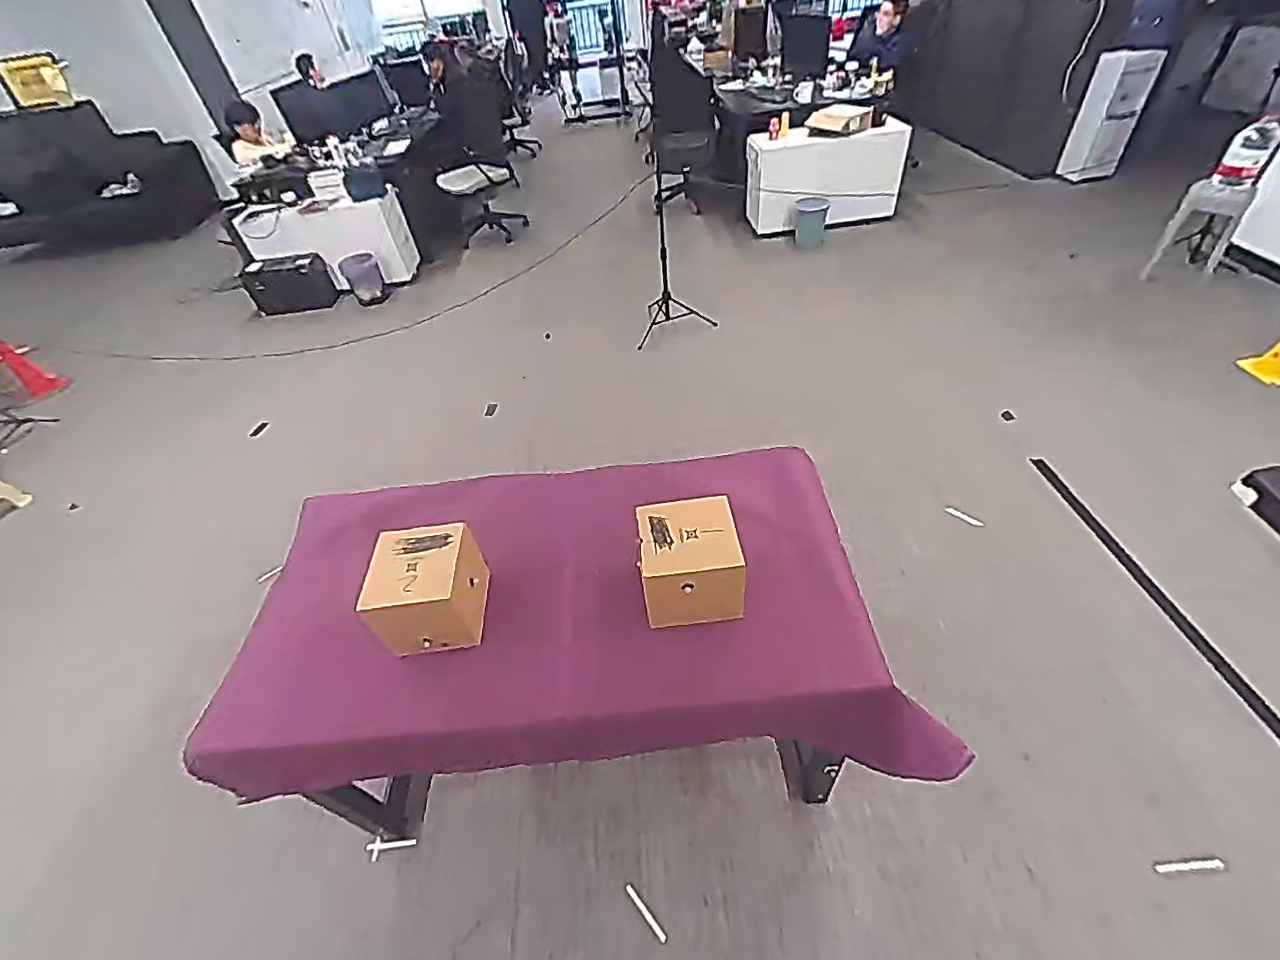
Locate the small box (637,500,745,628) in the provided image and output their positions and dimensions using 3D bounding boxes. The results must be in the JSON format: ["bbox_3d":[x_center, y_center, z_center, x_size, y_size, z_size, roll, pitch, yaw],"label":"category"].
[{"bbox_3d":[0.094,0.162,1.012,0.179,0.176,0.168,-7,44,1],"label":"small box"}]
